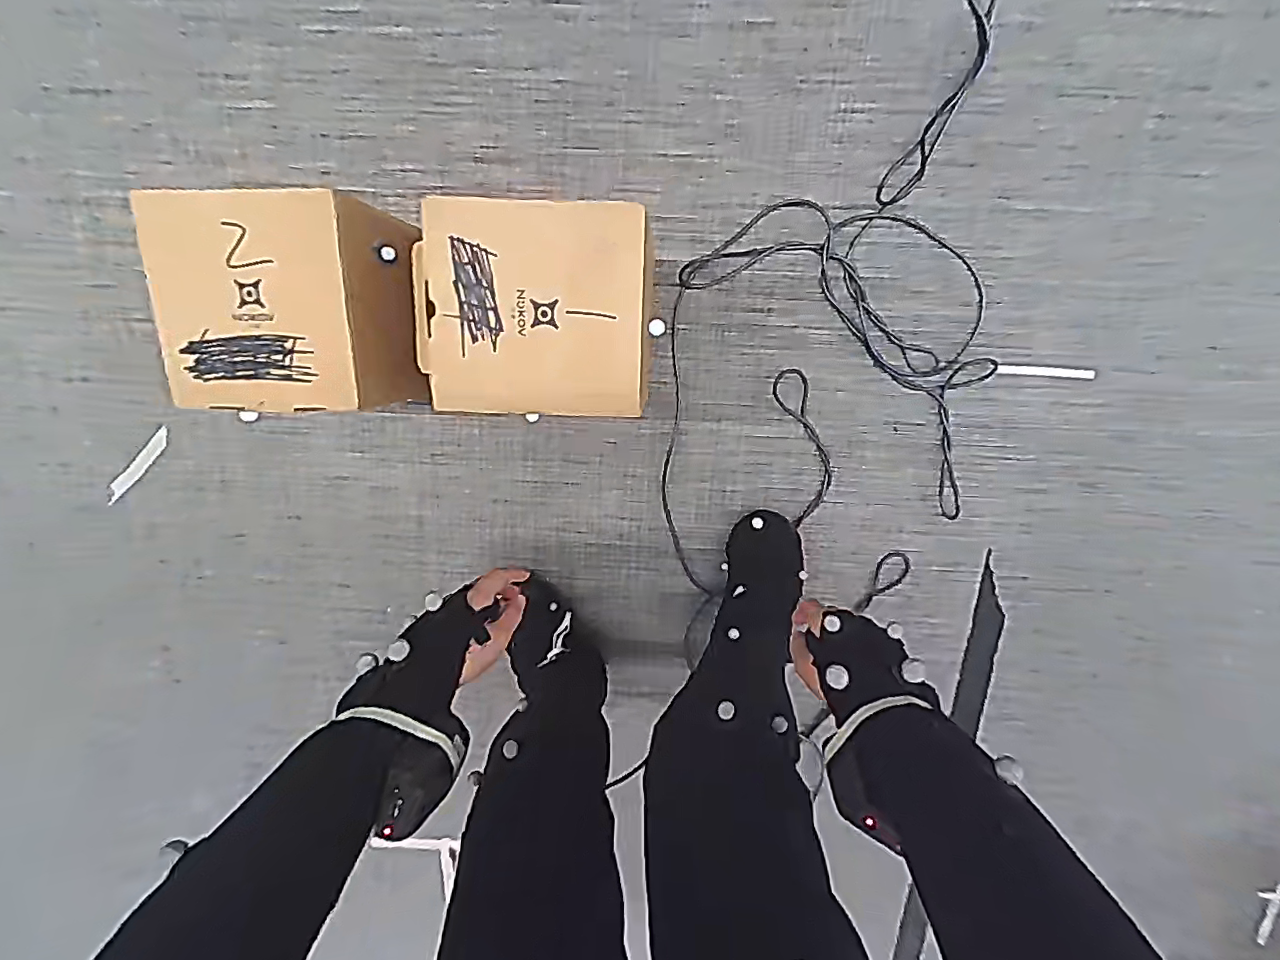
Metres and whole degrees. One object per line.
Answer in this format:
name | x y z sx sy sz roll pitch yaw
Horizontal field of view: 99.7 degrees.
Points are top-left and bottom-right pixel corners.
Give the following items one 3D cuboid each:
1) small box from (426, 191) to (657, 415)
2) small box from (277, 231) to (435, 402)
small box | -0.077 -0.155 0.504 0.179 0.176 0.168 3 104 2
small box | -0.304 -0.196 0.678 0.168 0.176 0.179 -4 104 3
